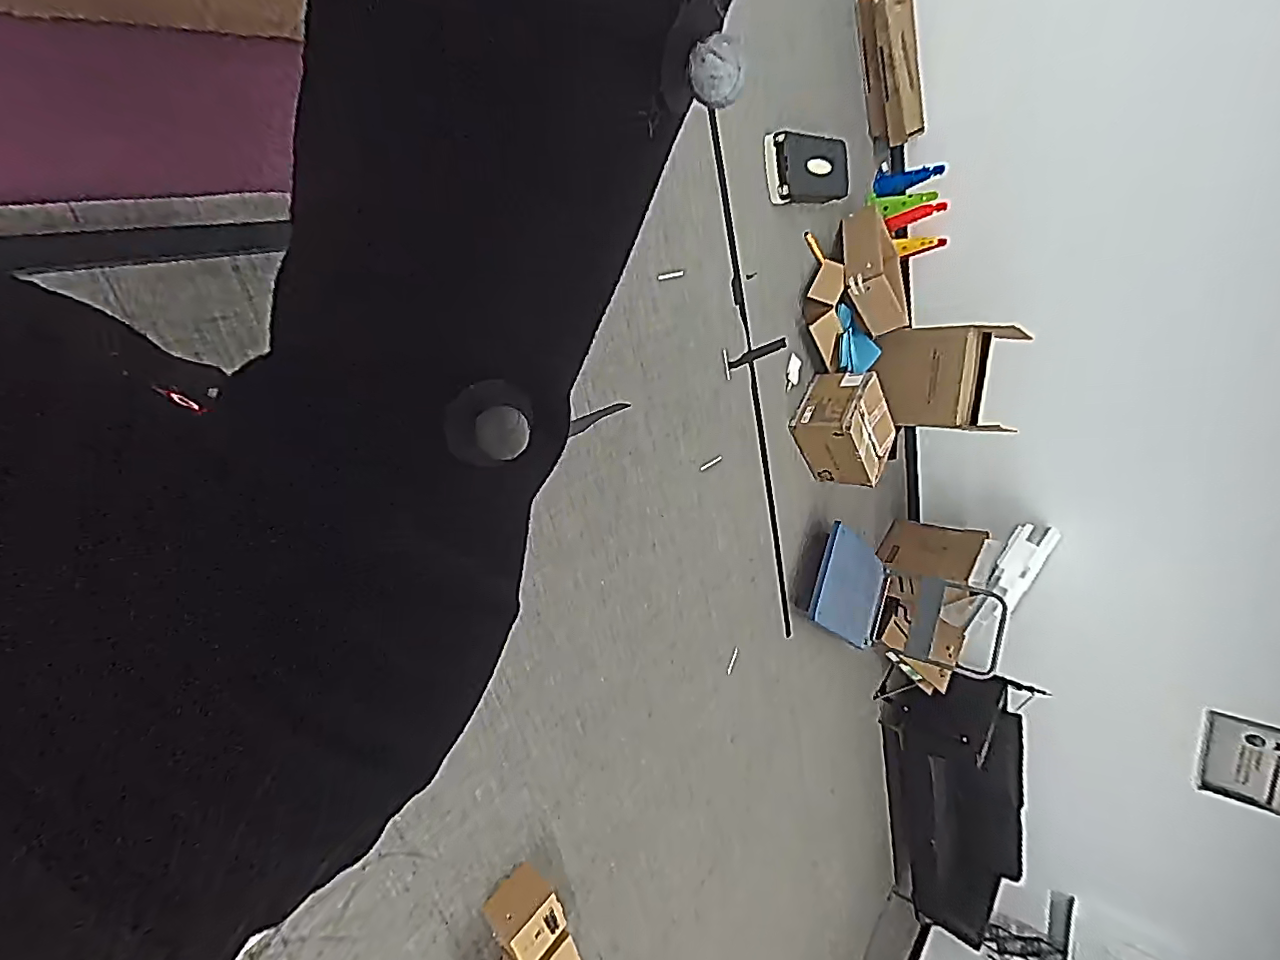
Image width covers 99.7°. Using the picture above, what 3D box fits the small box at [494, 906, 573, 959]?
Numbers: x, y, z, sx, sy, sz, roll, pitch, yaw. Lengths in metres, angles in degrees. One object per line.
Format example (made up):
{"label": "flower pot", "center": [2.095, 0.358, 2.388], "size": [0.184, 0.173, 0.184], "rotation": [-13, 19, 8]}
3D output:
{"label": "small box", "center": [-0.353, 1.607, 1.812], "size": [0.179, 0.176, 0.168], "rotation": [-29, 116, -41]}
